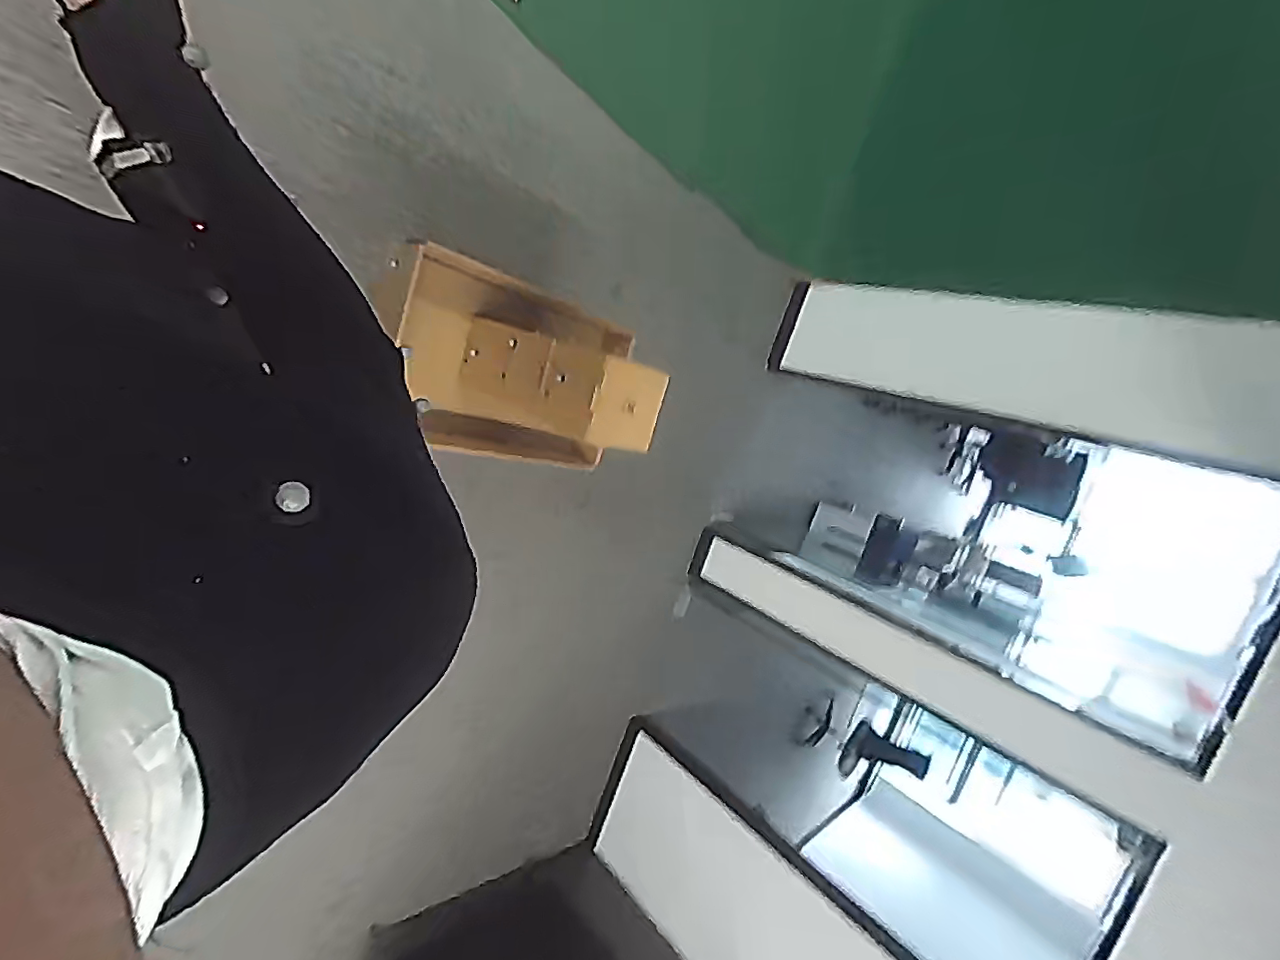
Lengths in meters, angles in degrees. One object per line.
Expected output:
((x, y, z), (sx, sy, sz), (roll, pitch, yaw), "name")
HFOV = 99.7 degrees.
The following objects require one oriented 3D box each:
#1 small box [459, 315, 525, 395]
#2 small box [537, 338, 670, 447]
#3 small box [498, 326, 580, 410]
((-0.301, -0.286, 1.297), (0.179, 0.176, 0.168), (9, 102, -50), "small box")
((-0.075, -0.177, 1.088), (0.179, 0.176, 0.168), (5, 106, -49), "small box")
((-0.185, -0.233, 1.193), (0.179, 0.176, 0.168), (5, 106, -50), "small box")
